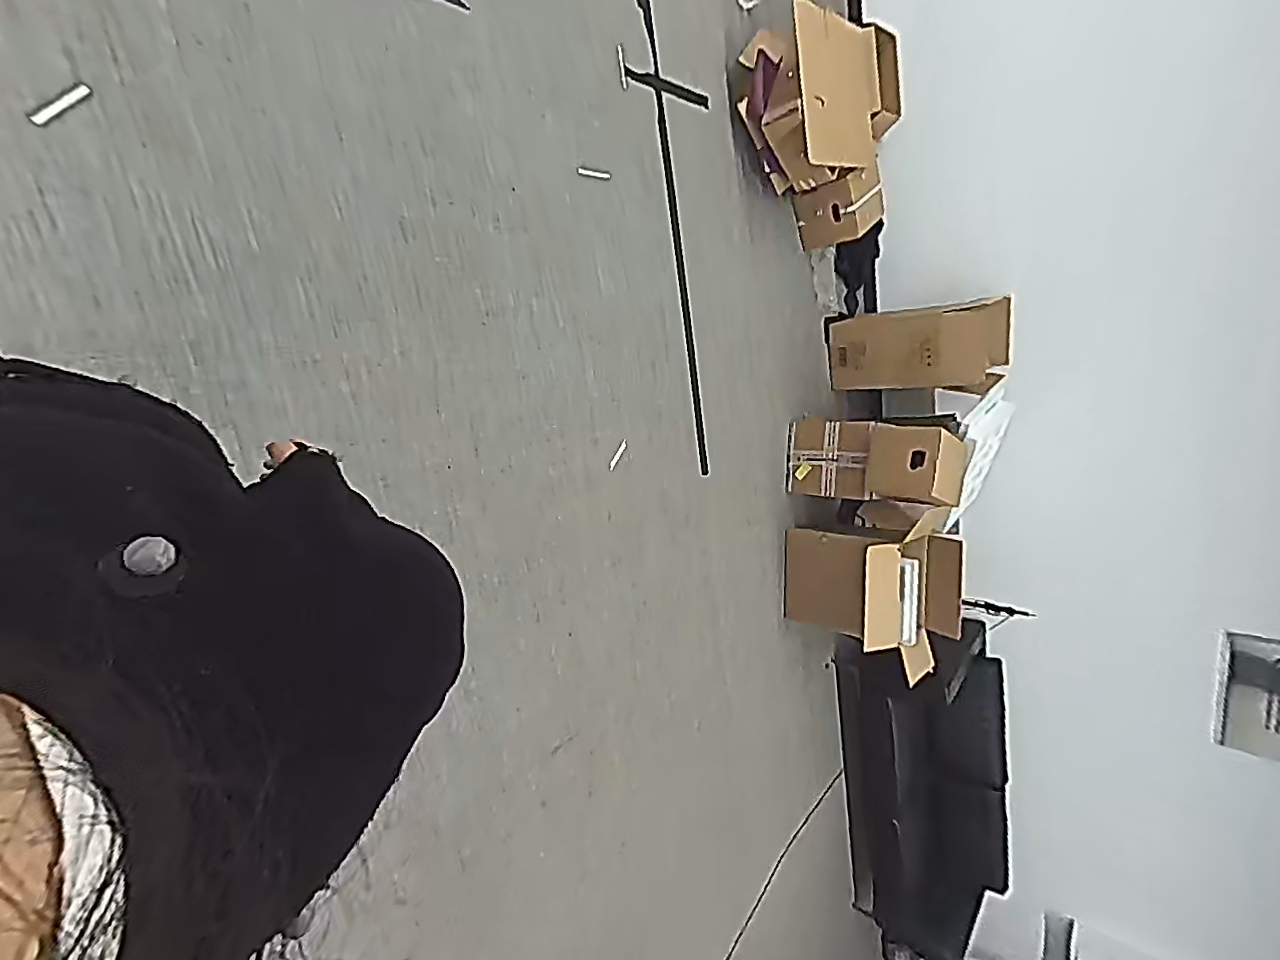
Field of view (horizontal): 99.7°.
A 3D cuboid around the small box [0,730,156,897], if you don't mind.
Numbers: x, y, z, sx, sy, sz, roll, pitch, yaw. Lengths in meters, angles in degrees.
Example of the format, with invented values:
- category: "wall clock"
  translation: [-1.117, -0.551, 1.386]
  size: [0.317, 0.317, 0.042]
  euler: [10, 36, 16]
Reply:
- category: "small box"
  translation: [-1.063, 0.616, 1.024]
  size: [0.179, 0.176, 0.168]
  euler: [-21, 108, -44]
